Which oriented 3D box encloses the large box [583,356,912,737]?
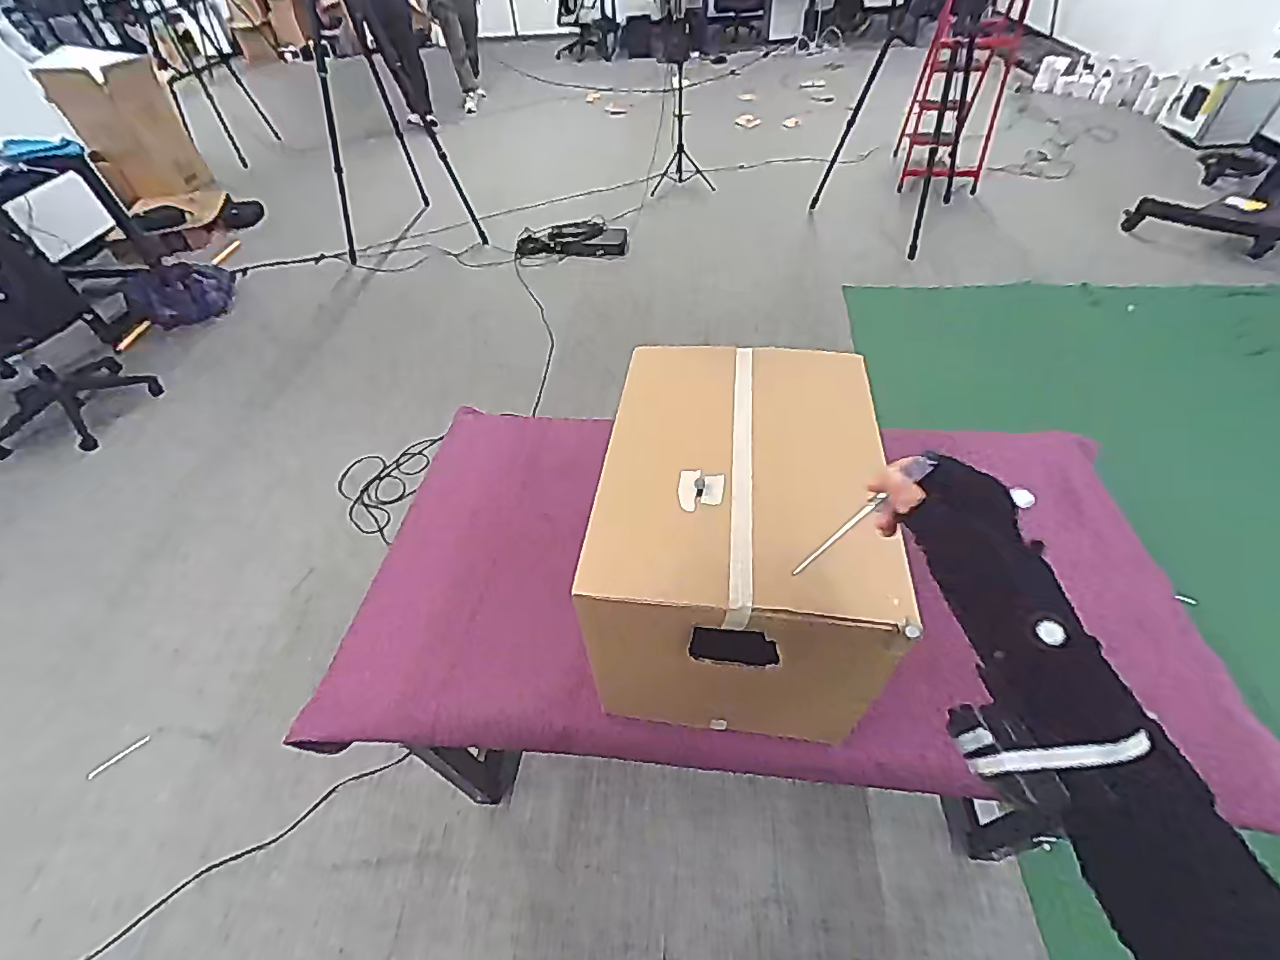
[{"bbox_3d":[0.124,0.080,0.742,0.320,0.320,0.408,4,49,8],"label":"large box"}]
